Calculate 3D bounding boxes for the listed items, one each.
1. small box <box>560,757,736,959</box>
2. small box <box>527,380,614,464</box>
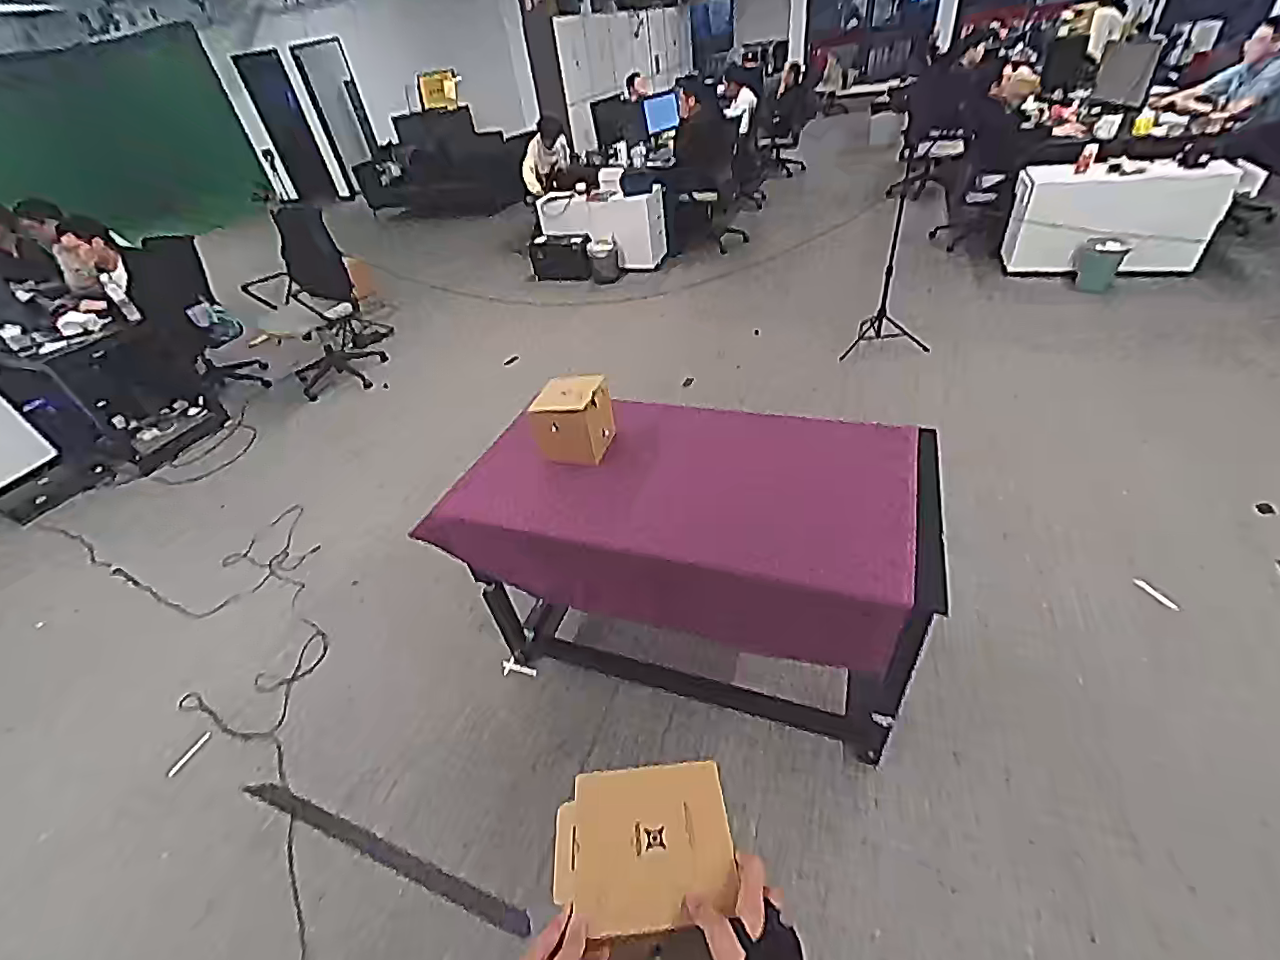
[{"bbox_3d":[0.010,0.458,0.631,0.179,0.176,0.168,-5,29,-2],"label":"small box"},{"bbox_3d":[-0.186,-0.161,1.506,0.179,0.176,0.168,7,43,17],"label":"small box"}]
